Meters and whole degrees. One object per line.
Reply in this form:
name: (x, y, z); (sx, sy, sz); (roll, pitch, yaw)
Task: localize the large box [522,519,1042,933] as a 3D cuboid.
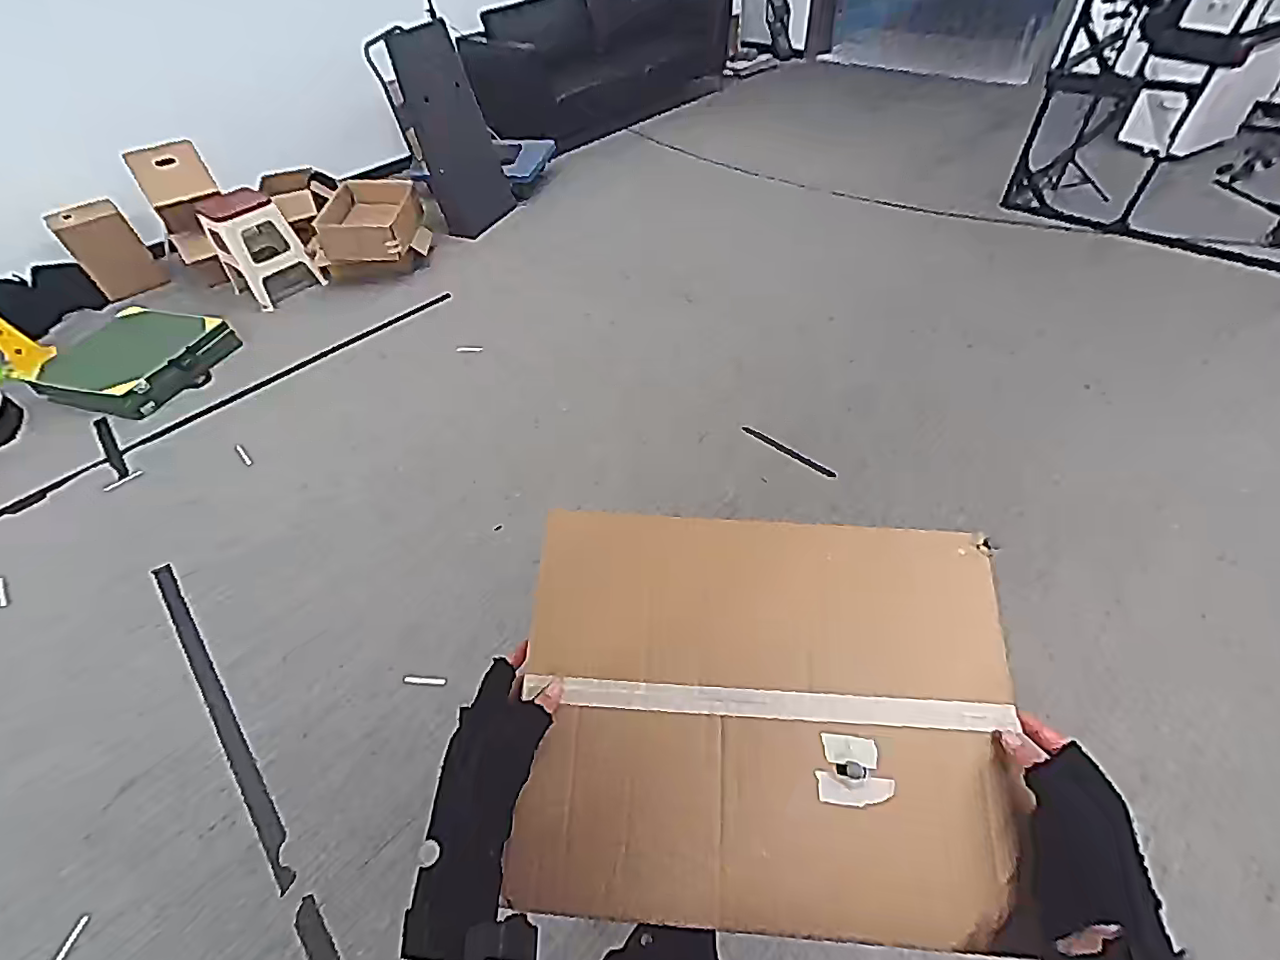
large box: (0.115, 0.244, 0.603); (0.408, 0.320, 0.320); (3, 69, 3)
